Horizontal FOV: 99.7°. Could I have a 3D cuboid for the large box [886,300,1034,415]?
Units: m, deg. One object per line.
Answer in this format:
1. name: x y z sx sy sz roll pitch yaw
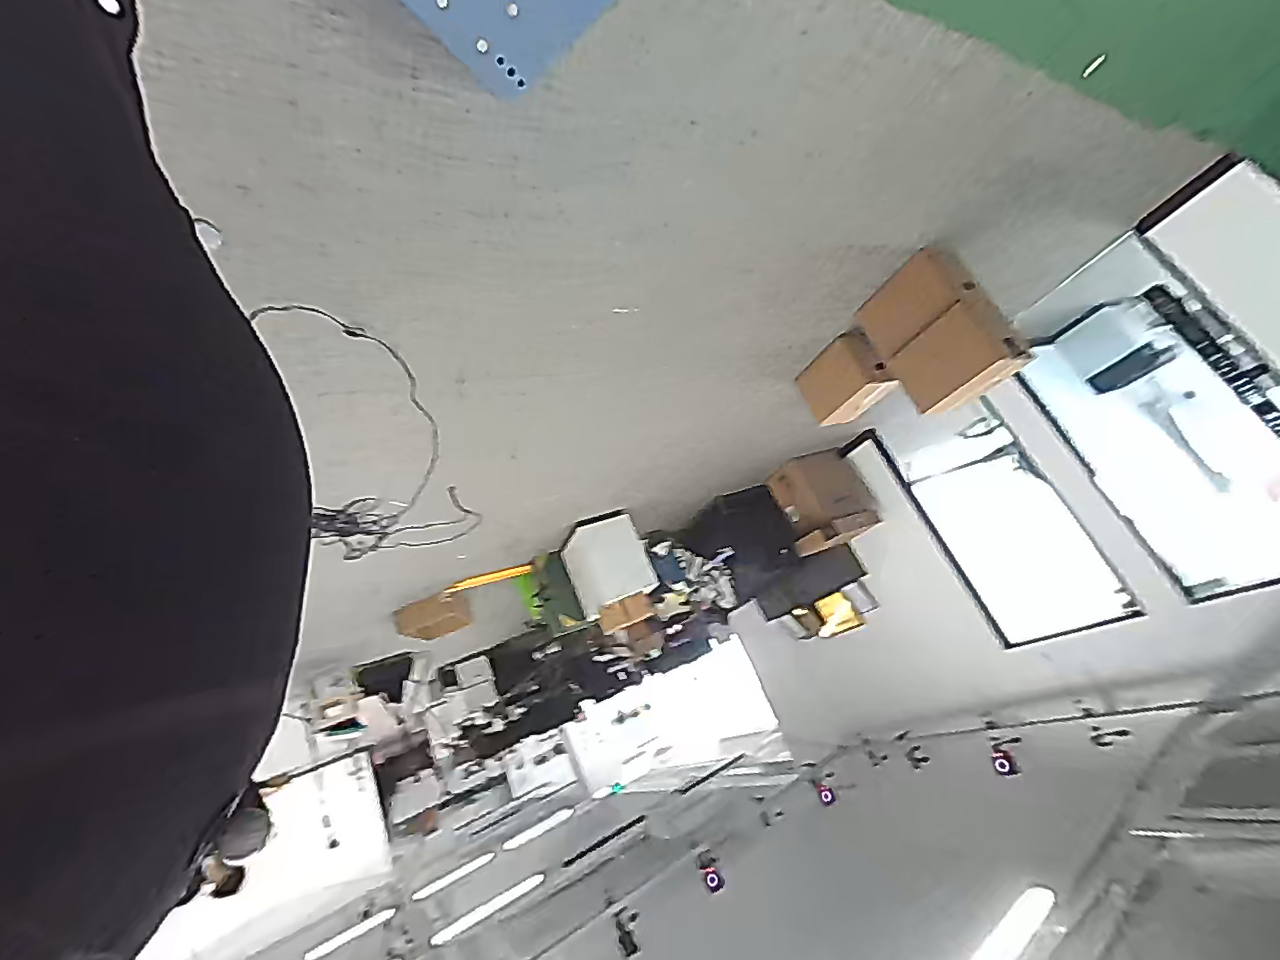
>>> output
1. large box: 1.399 -0.534 2.398 0.320 0.320 0.408 -9 155 -32
